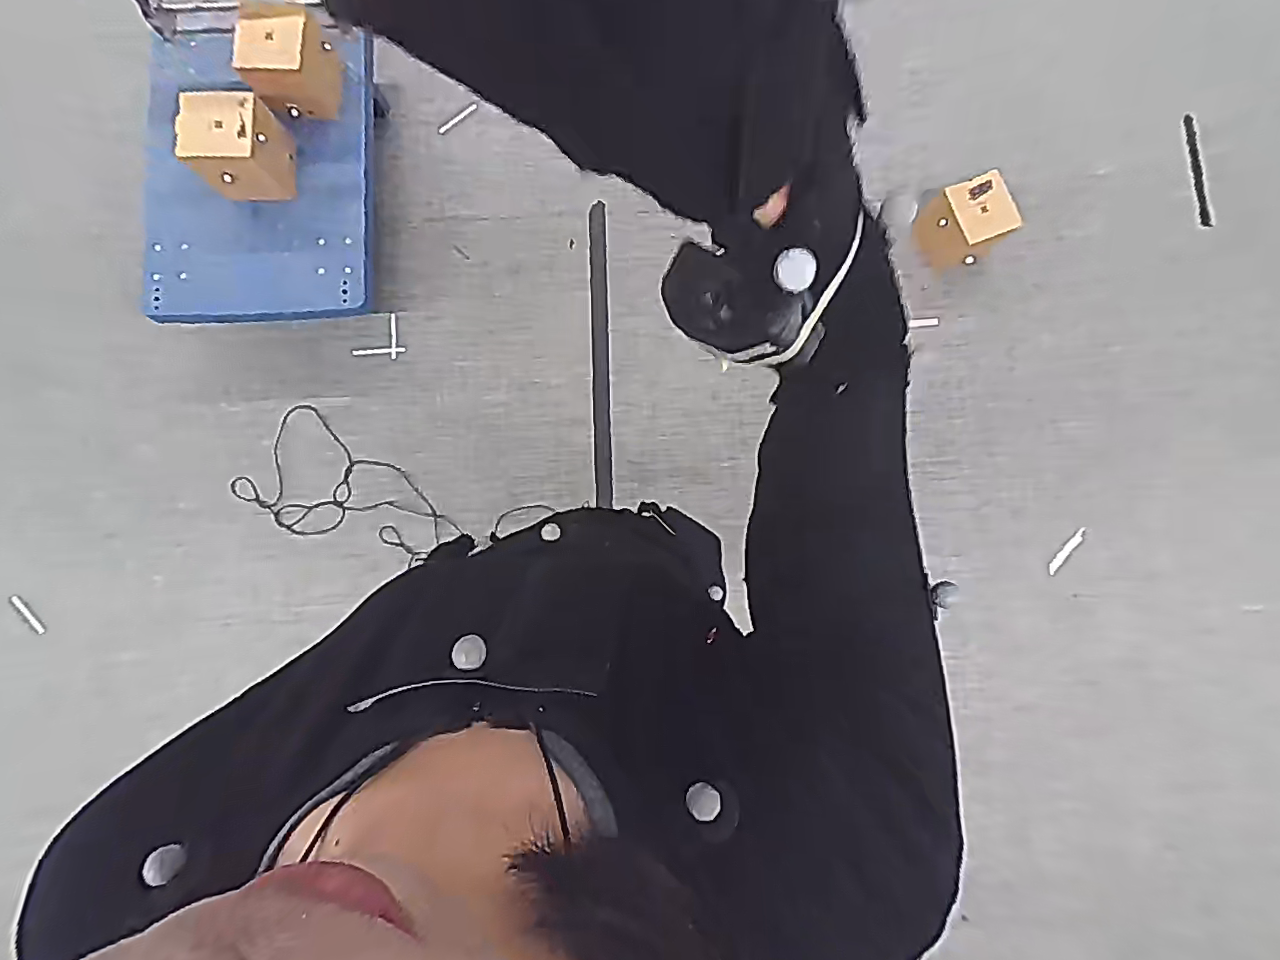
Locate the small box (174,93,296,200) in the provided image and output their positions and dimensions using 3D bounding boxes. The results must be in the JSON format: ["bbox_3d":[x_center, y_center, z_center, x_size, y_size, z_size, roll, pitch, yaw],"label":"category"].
[{"bbox_3d":[-0.997,-0.820,1.343,0.179,0.176,0.168,-1,85,0],"label":"small box"}]

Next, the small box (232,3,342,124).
[{"bbox_3d":[-0.883,-1.048,1.369,0.168,0.176,0.179,2,86,1],"label":"small box"}]

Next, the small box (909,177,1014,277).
[{"bbox_3d":[0.917,-0.723,1.560,0.168,0.176,0.179,-21,86,-3],"label":"small box"}]
